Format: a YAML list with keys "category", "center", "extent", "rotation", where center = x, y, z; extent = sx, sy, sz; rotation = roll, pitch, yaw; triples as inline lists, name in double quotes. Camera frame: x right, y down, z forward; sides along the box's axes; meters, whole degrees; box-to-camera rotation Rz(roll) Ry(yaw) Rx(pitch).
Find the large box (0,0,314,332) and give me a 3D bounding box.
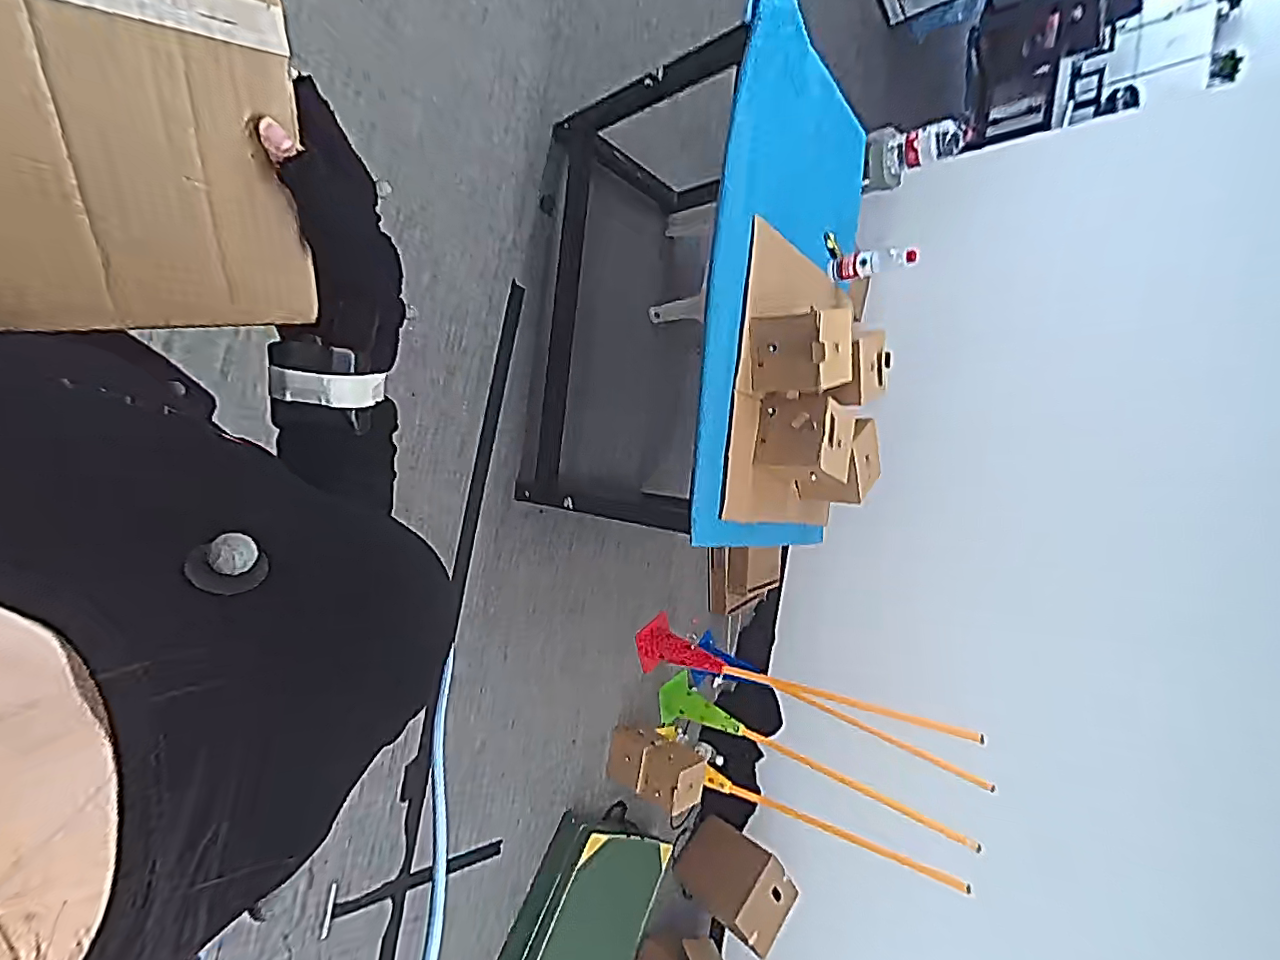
- category: "large box"
  center: [-0.446, -0.263, 0.263]
  extent: [0.408, 0.320, 0.320]
  rotation: [-17, 130, -40]
